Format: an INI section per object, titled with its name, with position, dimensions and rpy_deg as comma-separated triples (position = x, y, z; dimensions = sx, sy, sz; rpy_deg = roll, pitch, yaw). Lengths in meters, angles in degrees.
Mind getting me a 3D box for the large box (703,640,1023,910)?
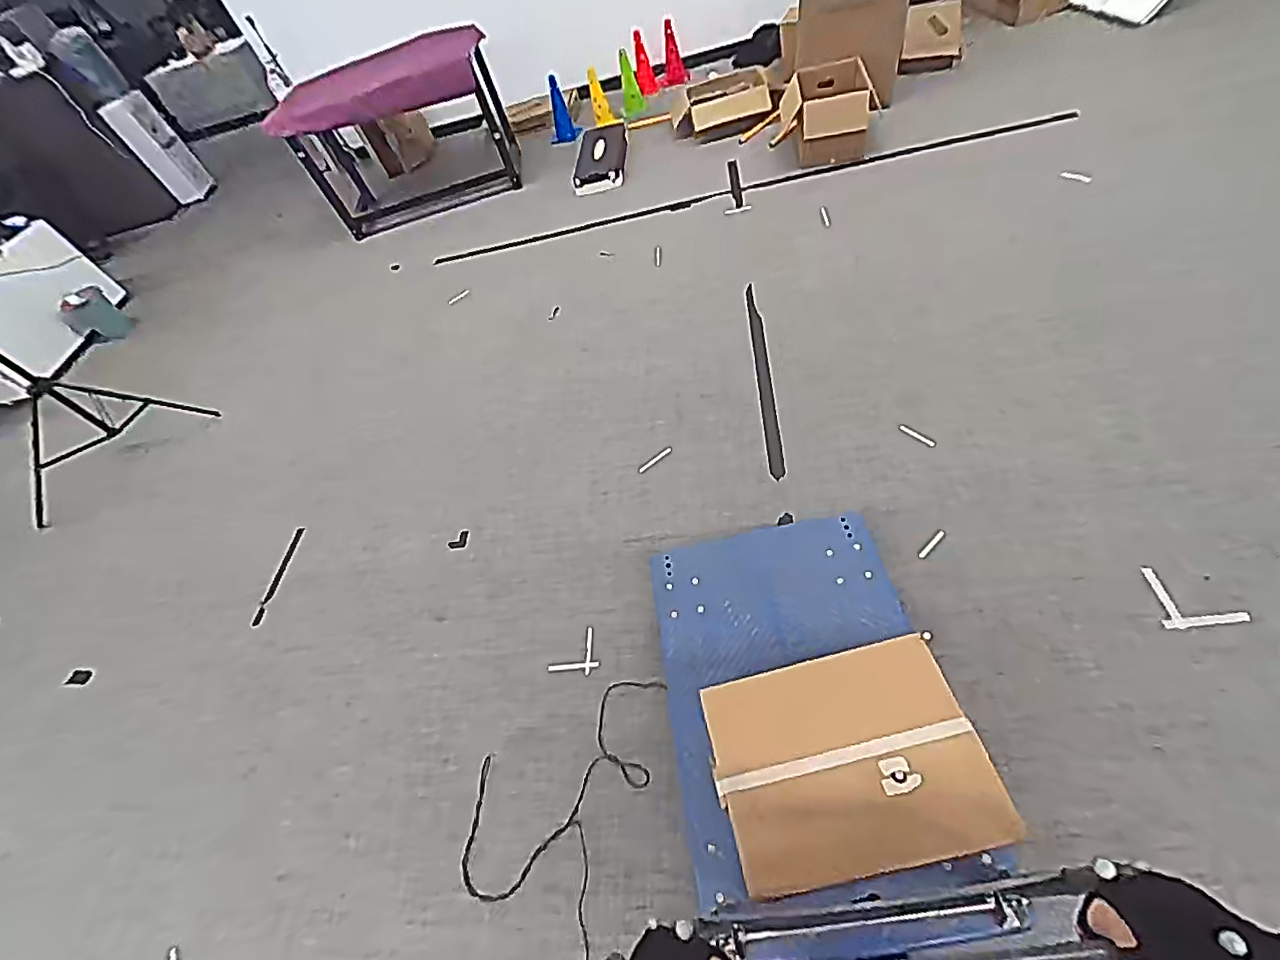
[large box]
position = 0.360, 0.541, 0.983
dimensions = 0.408, 0.320, 0.320
rpy_deg = -16, 52, 3
